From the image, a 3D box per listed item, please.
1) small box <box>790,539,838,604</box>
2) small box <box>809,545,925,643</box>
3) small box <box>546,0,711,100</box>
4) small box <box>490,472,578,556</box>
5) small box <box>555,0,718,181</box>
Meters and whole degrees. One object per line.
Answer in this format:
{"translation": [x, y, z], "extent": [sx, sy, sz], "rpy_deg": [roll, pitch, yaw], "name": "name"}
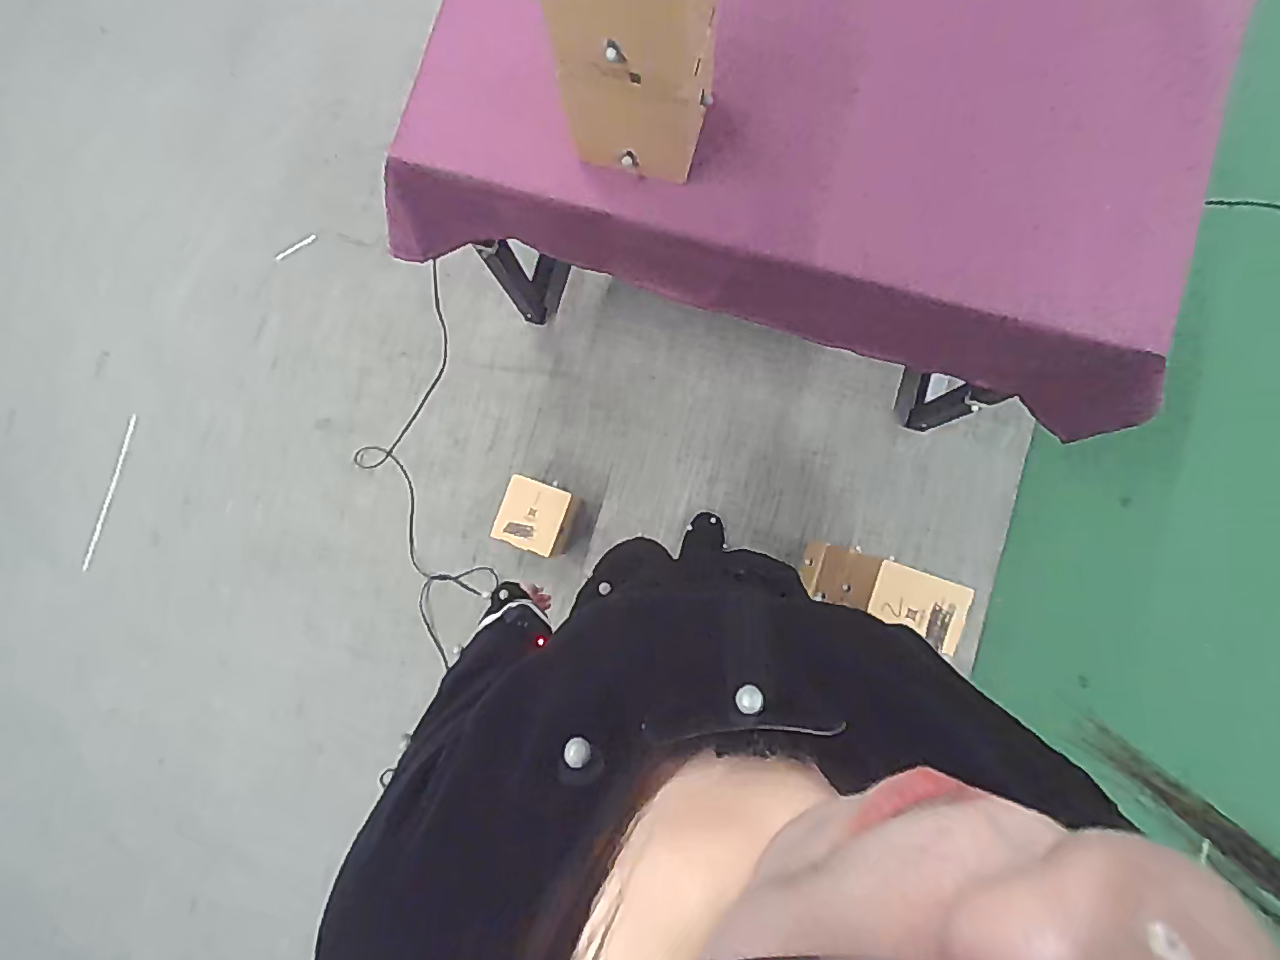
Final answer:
{"translation": [0.510, 0.261, 1.406], "extent": [0.179, 0.176, 0.168], "rpy_deg": [21, 87, 3], "name": "small box"}
{"translation": [0.511, 0.252, 1.243], "extent": [0.179, 0.176, 0.168], "rpy_deg": [18, 87, 3], "name": "small box"}
{"translation": [-0.008, -0.579, 0.600], "extent": [0.168, 0.176, 0.179], "rpy_deg": [16, 86, 5], "name": "small box"}
{"translation": [-0.277, 0.093, 1.458], "extent": [0.168, 0.176, 0.179], "rpy_deg": [20, 86, 4], "name": "small box"}
{"translation": [-0.002, -0.560, 0.764], "extent": [0.179, 0.176, 0.168], "rpy_deg": [15, 86, 3], "name": "small box"}
